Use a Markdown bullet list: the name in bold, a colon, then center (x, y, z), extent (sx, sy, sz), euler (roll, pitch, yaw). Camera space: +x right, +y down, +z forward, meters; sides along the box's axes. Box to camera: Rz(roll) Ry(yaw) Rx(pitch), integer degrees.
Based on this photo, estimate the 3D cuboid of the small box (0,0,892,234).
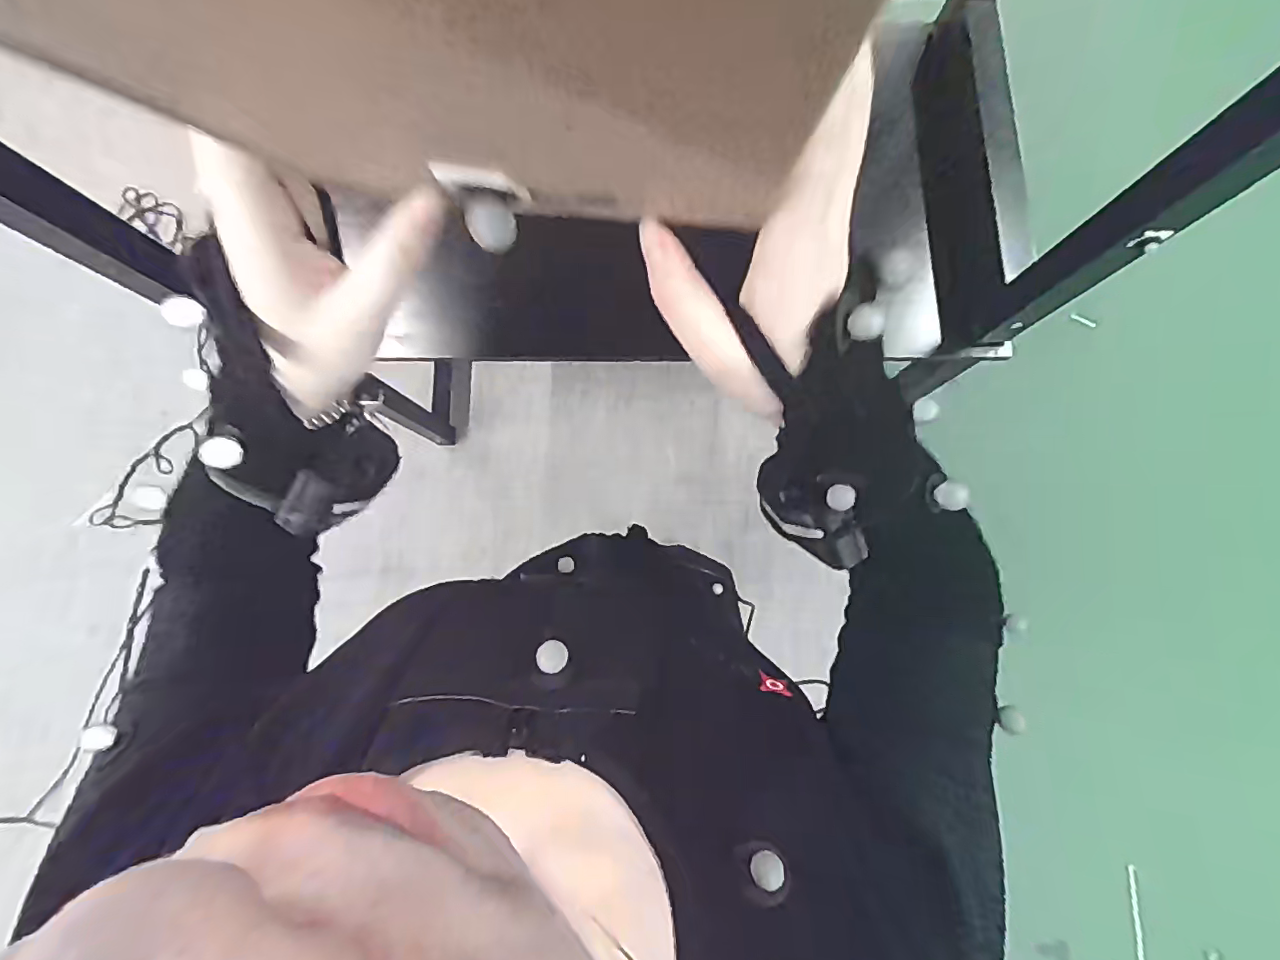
- **small box**: center (-0.034, -0.166, 0.116), extent (0.168, 0.176, 0.179), euler (6, 106, 6)
